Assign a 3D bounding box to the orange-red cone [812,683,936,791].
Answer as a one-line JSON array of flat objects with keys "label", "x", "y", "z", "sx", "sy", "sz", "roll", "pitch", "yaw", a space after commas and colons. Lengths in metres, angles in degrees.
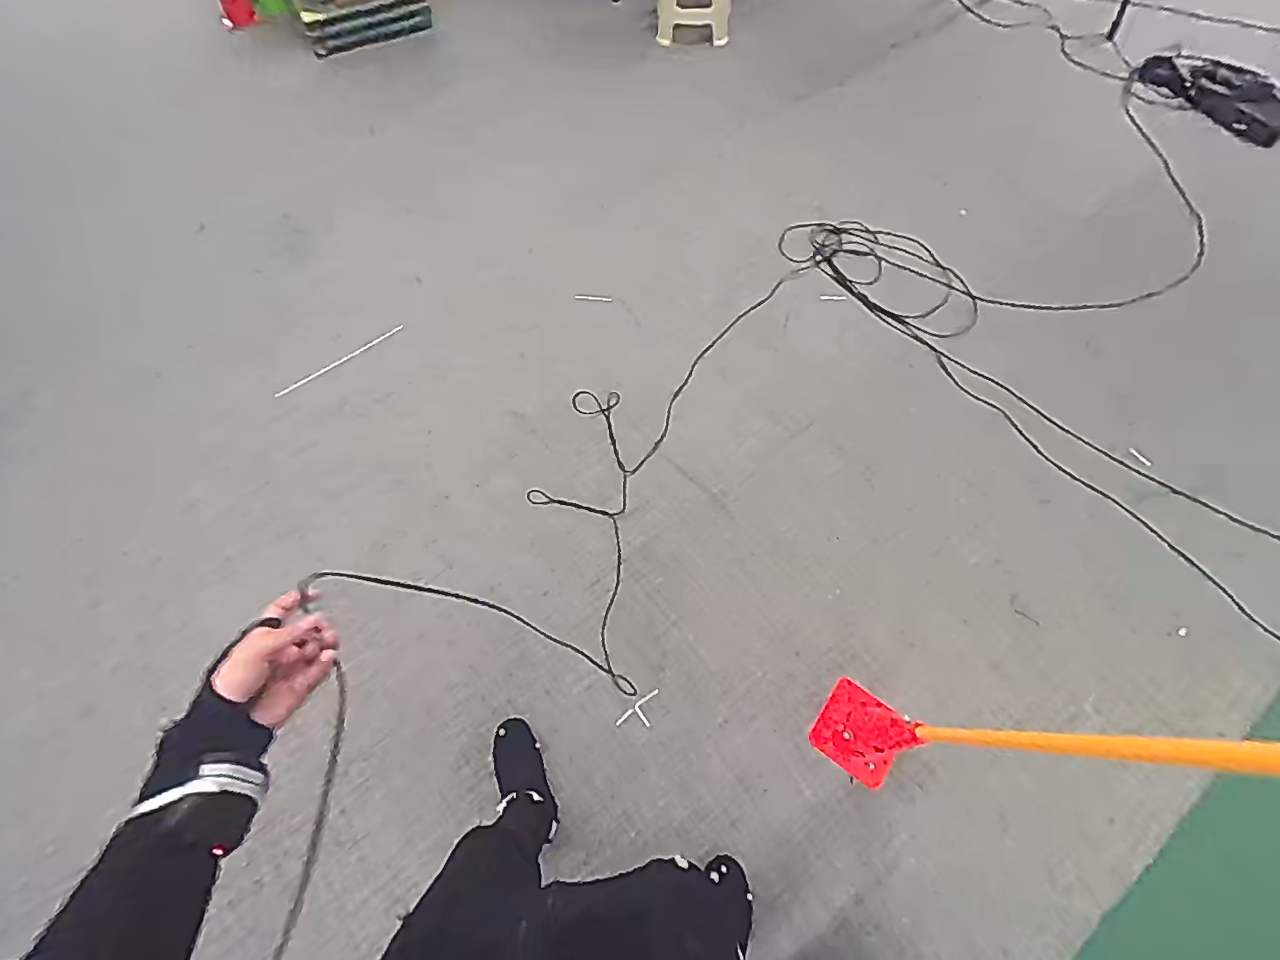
[{"label": "orange-red cone", "x": 0.560, "y": 0.575, "z": 1.217, "sx": 0.198, "sy": 0.360, "sz": 0.199, "roll": 36, "pitch": 69, "yaw": 15}]
